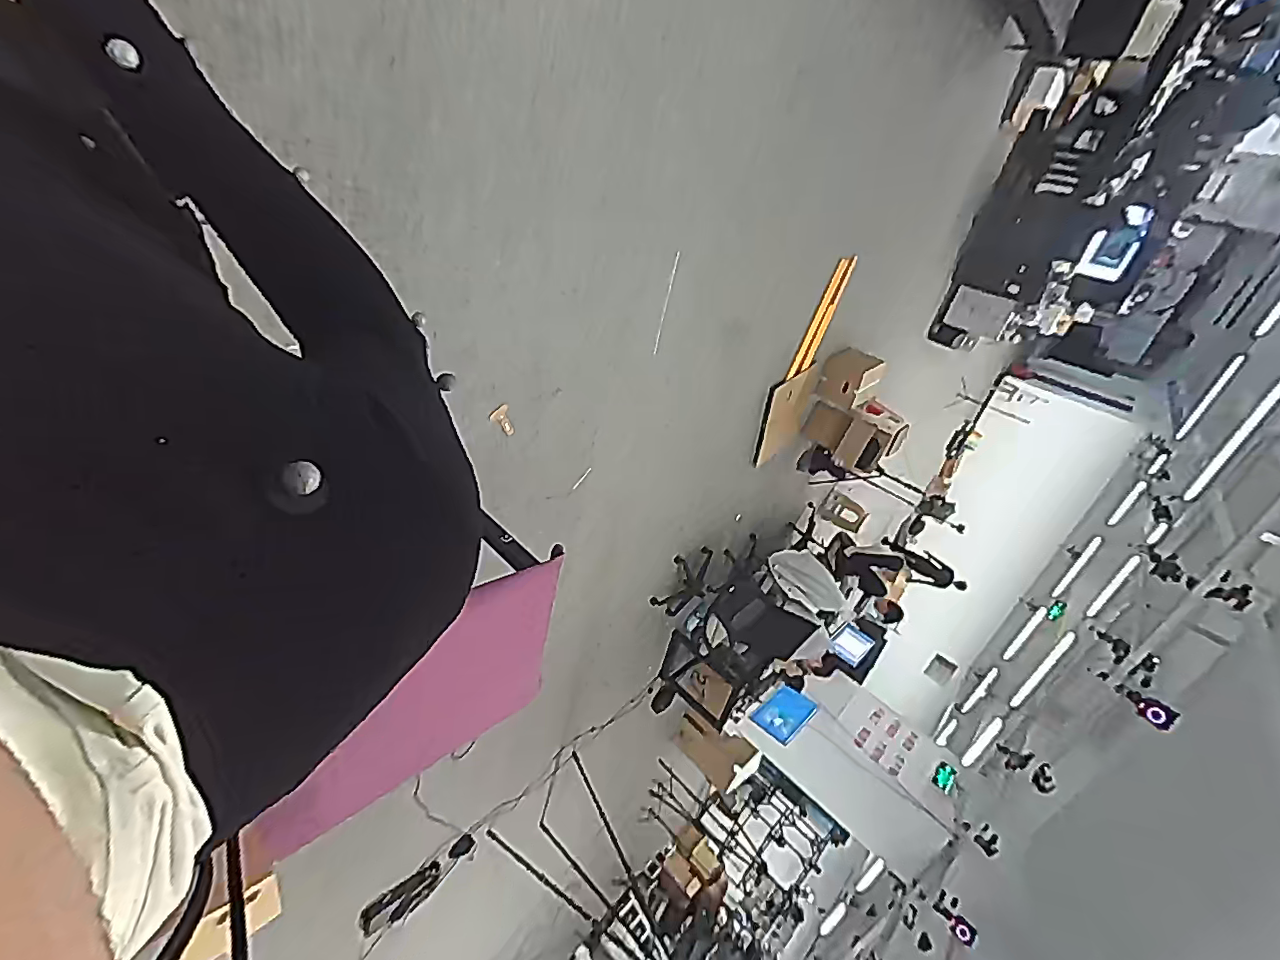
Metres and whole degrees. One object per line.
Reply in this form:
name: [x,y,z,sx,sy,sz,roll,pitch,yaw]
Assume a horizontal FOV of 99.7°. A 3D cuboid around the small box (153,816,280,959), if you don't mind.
small box: [-0.879,0.849,1.127,0.168,0.176,0.179,-18,133,-45]
